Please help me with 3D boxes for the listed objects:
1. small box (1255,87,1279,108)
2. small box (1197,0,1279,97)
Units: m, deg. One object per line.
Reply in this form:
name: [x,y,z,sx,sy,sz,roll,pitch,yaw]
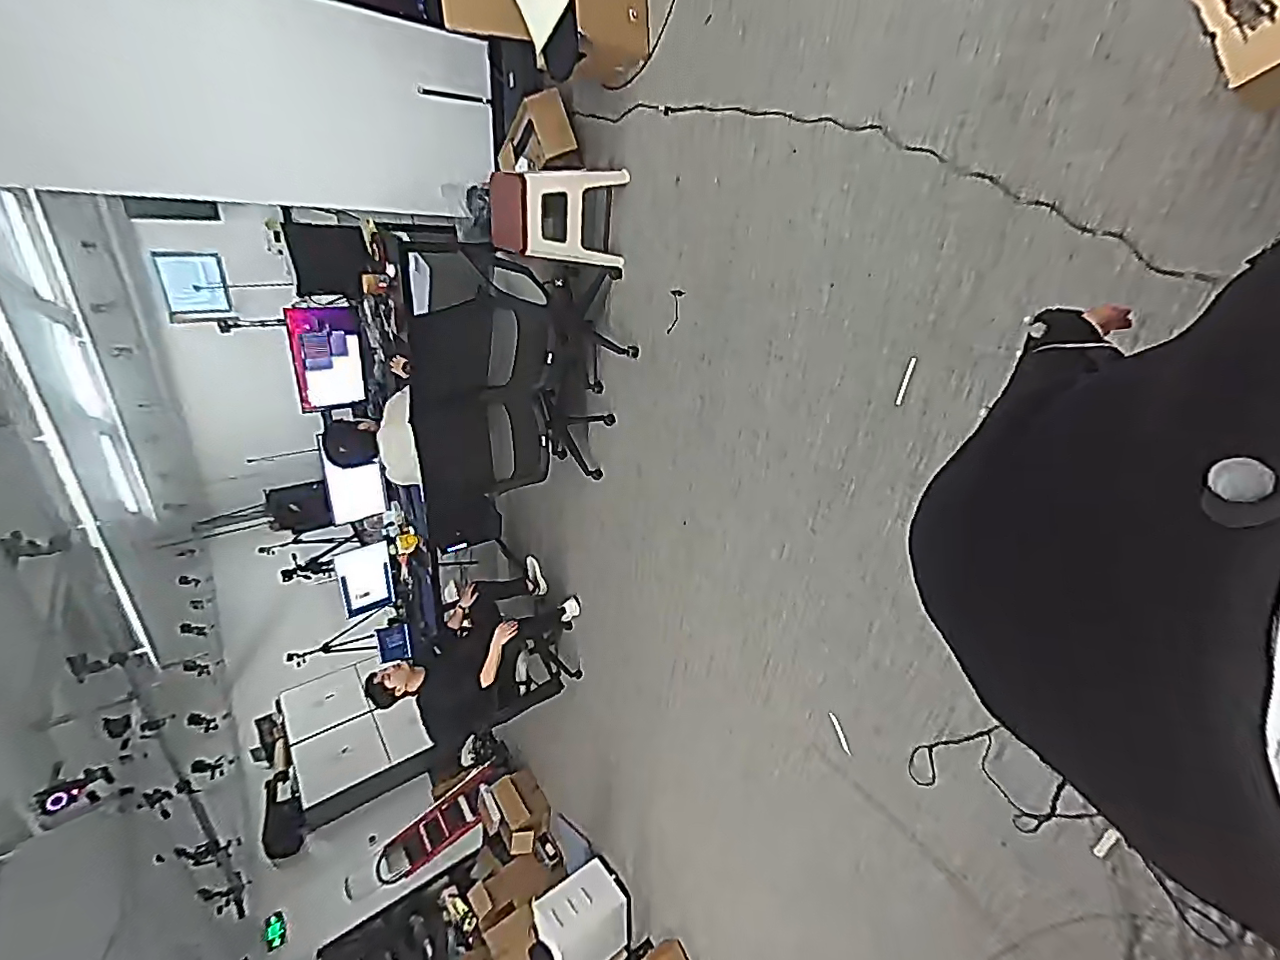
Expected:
small box: [1.043,-0.719,0.828,0.179,0.176,0.168,-26,81,54]
small box: [0.915,-0.668,0.735,0.179,0.176,0.168,-24,84,55]
